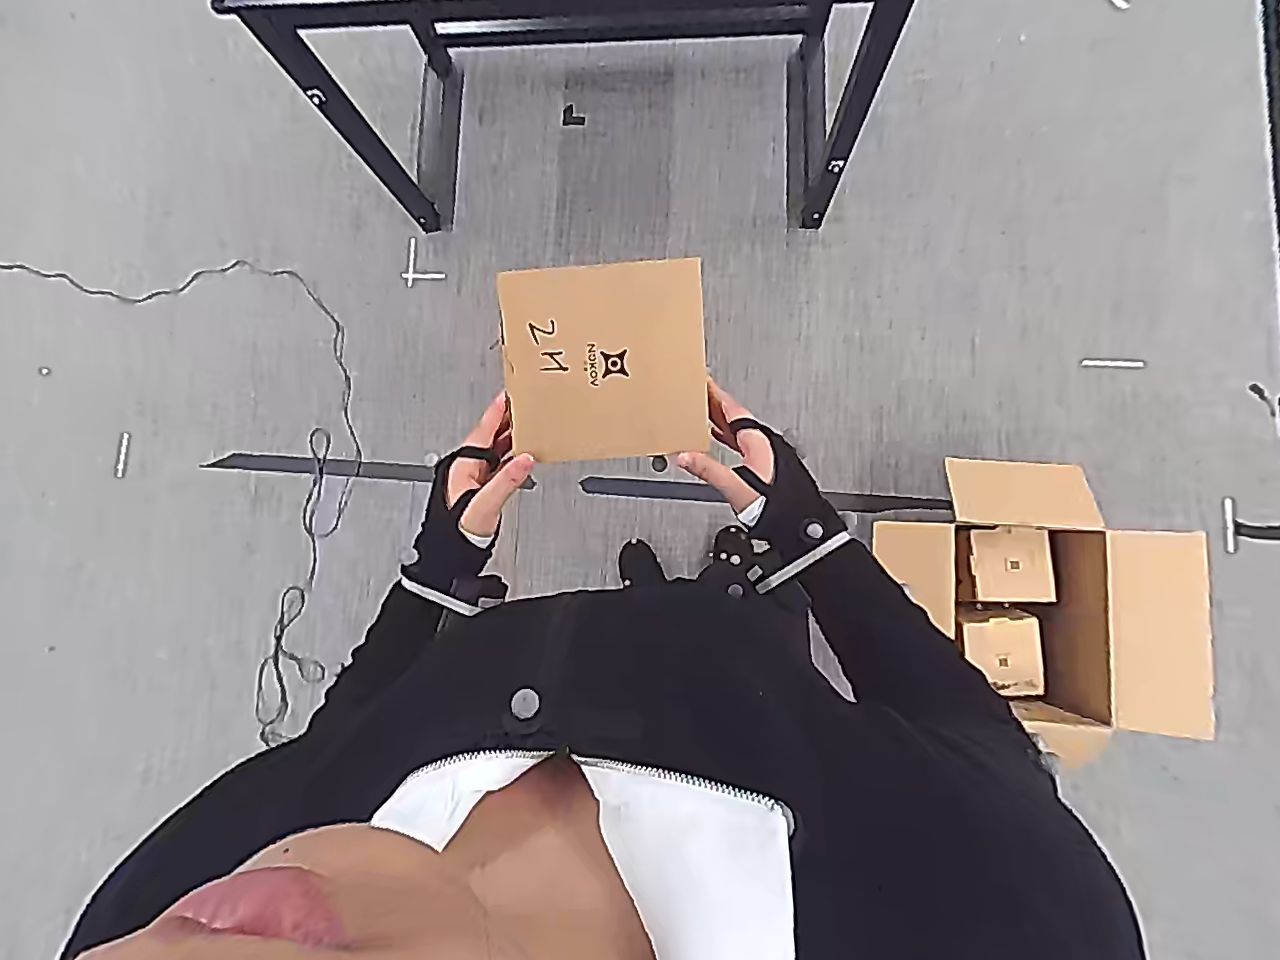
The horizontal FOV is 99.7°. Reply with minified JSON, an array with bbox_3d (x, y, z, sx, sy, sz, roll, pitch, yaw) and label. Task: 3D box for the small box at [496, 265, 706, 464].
[{"bbox_3d":[-0.032,-0.109,0.551,0.179,0.176,0.168,-4,96,2],"label":"small box"}]
